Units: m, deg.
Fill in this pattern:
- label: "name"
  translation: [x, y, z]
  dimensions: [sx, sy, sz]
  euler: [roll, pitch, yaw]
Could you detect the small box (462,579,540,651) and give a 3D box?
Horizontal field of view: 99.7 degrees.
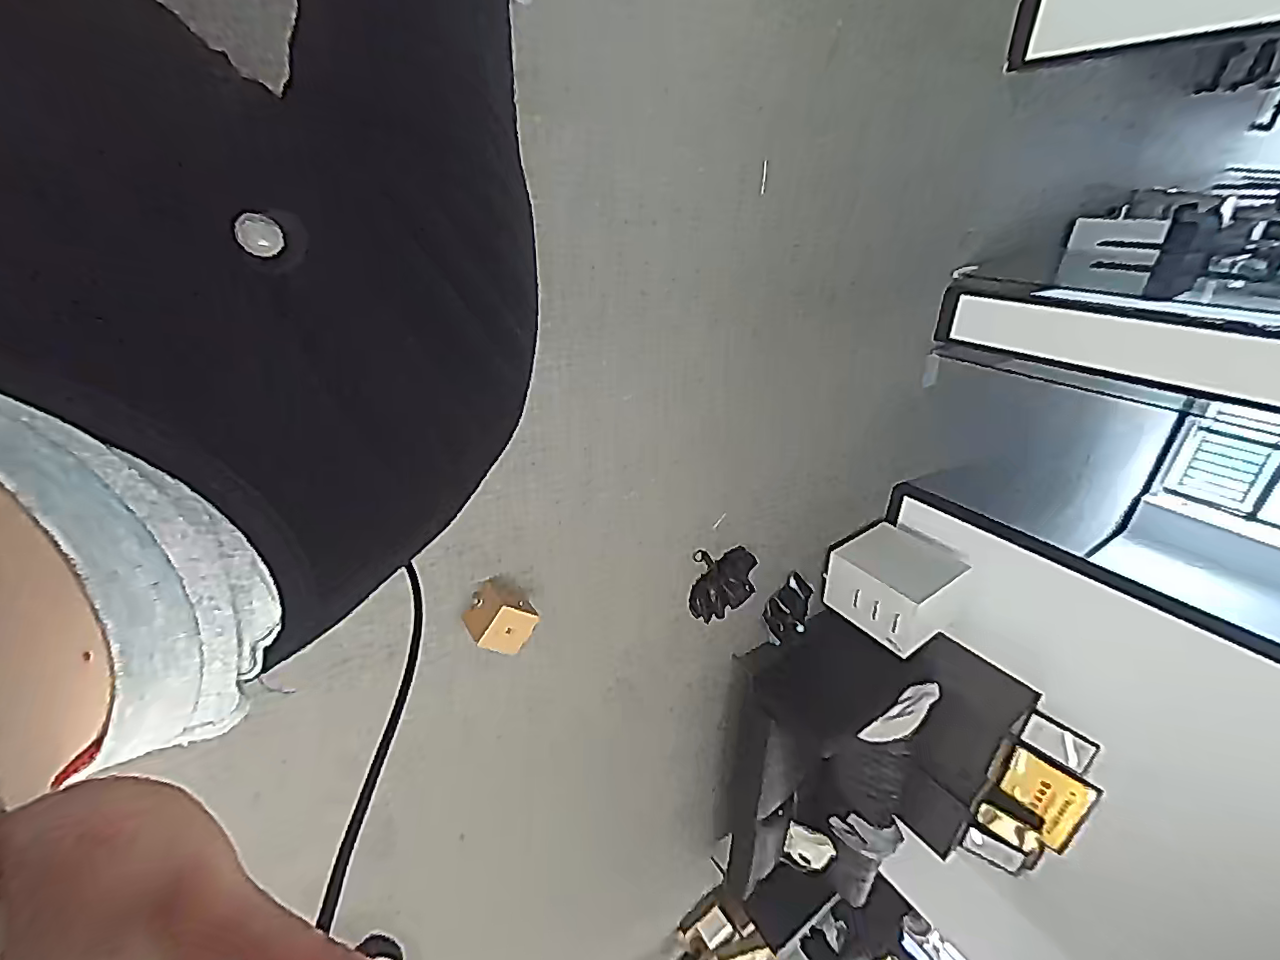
- label: "small box"
  translation: [-0.496, 0.476, 1.921]
  dimensions: [0.179, 0.176, 0.168]
  euler: [33, 90, -43]
